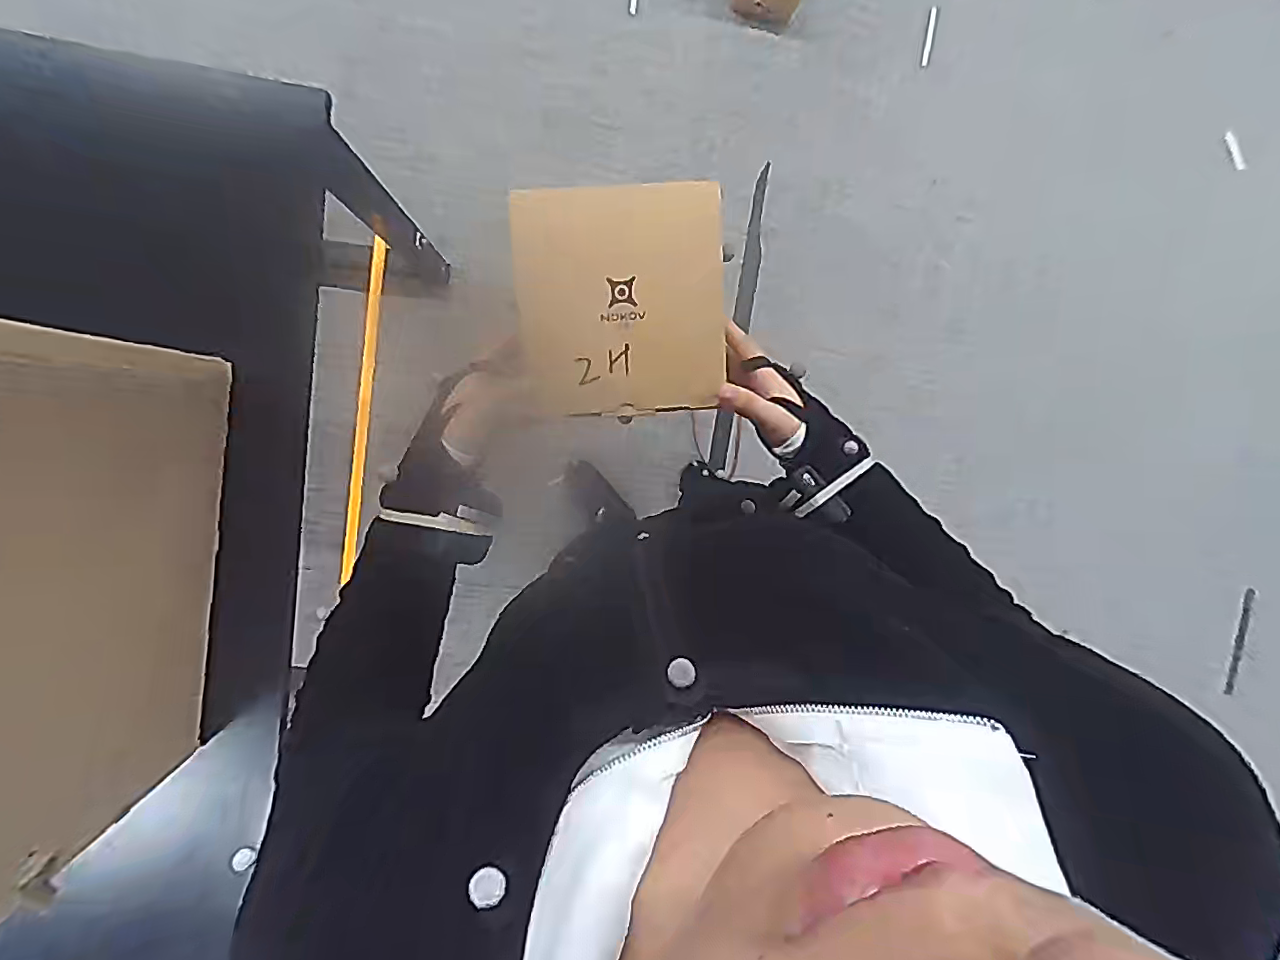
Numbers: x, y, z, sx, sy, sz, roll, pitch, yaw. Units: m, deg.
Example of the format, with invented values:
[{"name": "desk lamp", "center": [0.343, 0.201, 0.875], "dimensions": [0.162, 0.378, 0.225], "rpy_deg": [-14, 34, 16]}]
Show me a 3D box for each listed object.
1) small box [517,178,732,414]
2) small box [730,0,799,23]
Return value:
[{"name": "small box", "center": [-0.013, -0.154, 0.502], "dimensions": [0.168, 0.176, 0.179], "rpy_deg": [-3, 100, -1]}, {"name": "small box", "center": [0.327, -1.281, 1.319], "dimensions": [0.168, 0.176, 0.179], "rpy_deg": [7, 96, -6]}]
